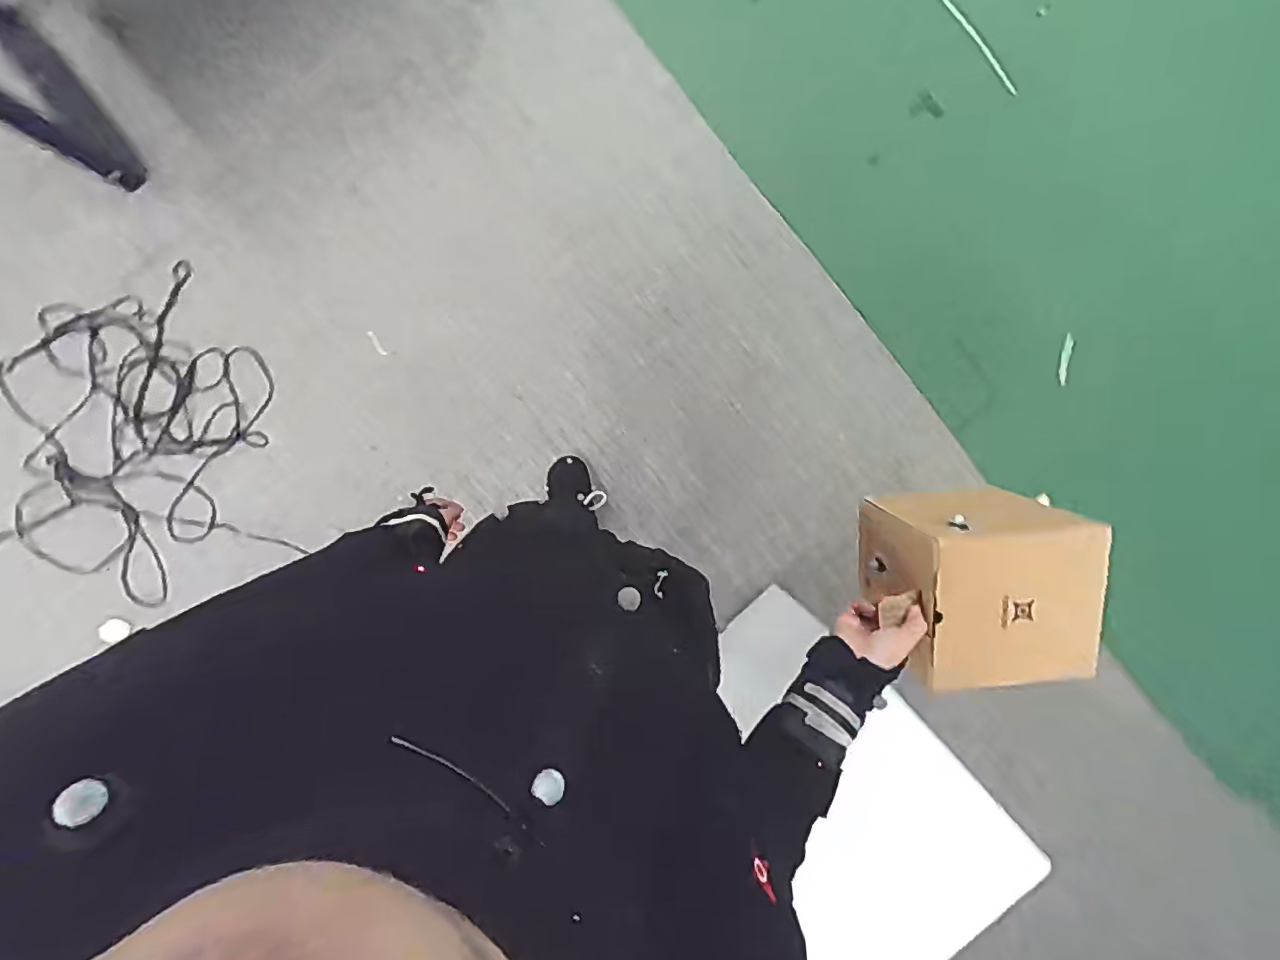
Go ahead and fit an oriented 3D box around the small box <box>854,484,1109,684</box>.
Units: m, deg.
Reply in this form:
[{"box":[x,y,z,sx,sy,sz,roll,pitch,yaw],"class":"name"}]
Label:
[{"box":[0.369,0.105,0.617,0.179,0.176,0.168,-5,104,-2],"class":"small box"}]
